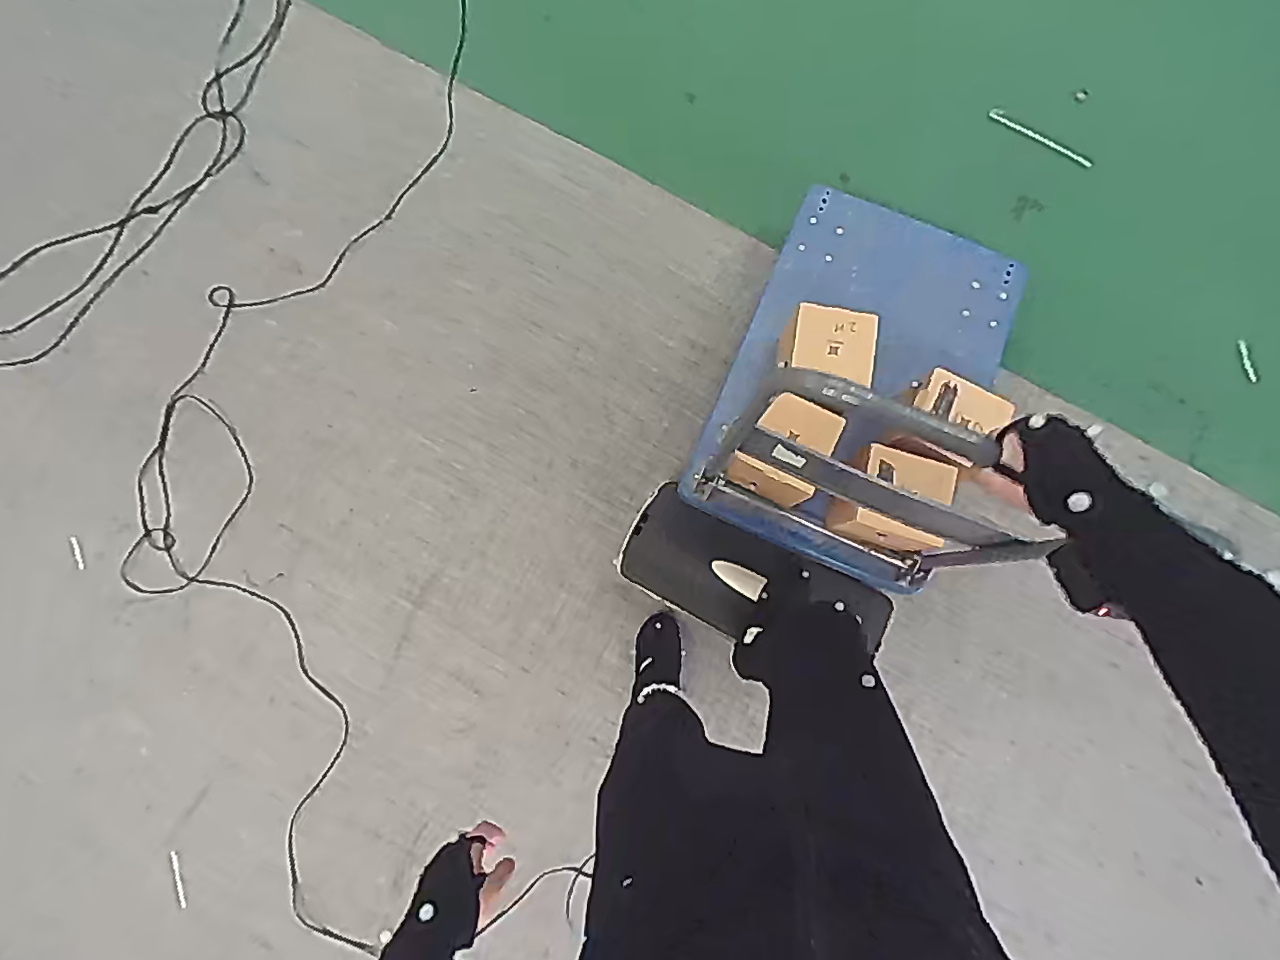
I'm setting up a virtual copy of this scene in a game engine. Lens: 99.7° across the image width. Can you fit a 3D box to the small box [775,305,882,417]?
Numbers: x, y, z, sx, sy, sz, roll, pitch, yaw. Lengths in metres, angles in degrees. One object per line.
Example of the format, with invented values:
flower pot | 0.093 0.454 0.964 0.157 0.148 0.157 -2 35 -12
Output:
small box | 0.401 -0.250 1.176 0.168 0.176 0.179 11 80 1
